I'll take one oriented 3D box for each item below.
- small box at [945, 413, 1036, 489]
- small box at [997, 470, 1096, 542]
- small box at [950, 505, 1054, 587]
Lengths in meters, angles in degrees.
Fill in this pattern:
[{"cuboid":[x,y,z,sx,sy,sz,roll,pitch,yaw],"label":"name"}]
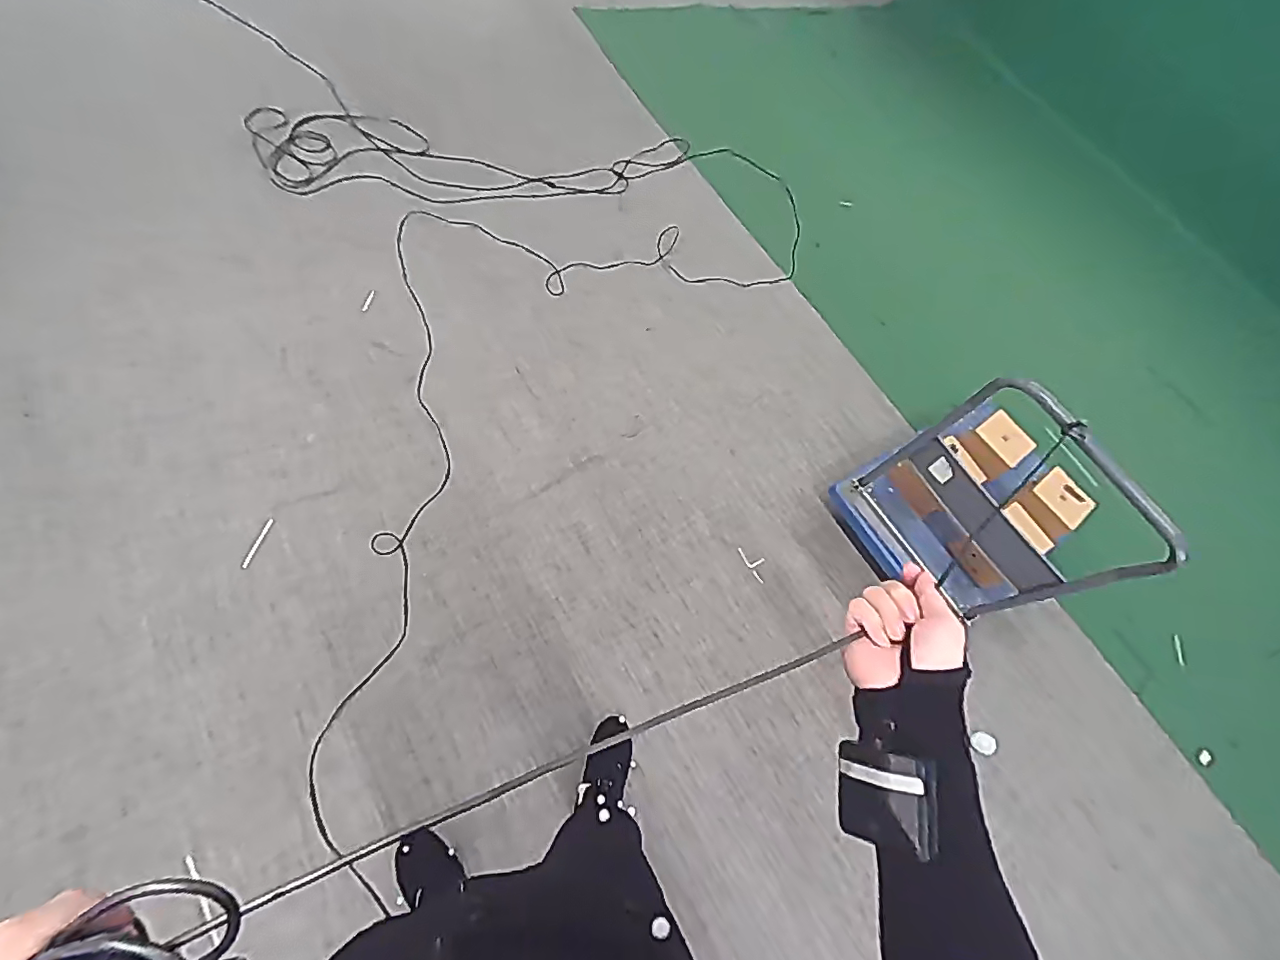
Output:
[{"cuboid":[1.191,-0.095,1.853,0.179,0.176,0.168,-30,75,-25],"label":"small box"},{"cuboid":[1.338,0.100,1.791,0.179,0.176,0.168,-30,74,-24],"label":"small box"},{"cuboid":[1.116,0.207,1.681,0.179,0.176,0.168,-25,72,-23],"label":"small box"}]
